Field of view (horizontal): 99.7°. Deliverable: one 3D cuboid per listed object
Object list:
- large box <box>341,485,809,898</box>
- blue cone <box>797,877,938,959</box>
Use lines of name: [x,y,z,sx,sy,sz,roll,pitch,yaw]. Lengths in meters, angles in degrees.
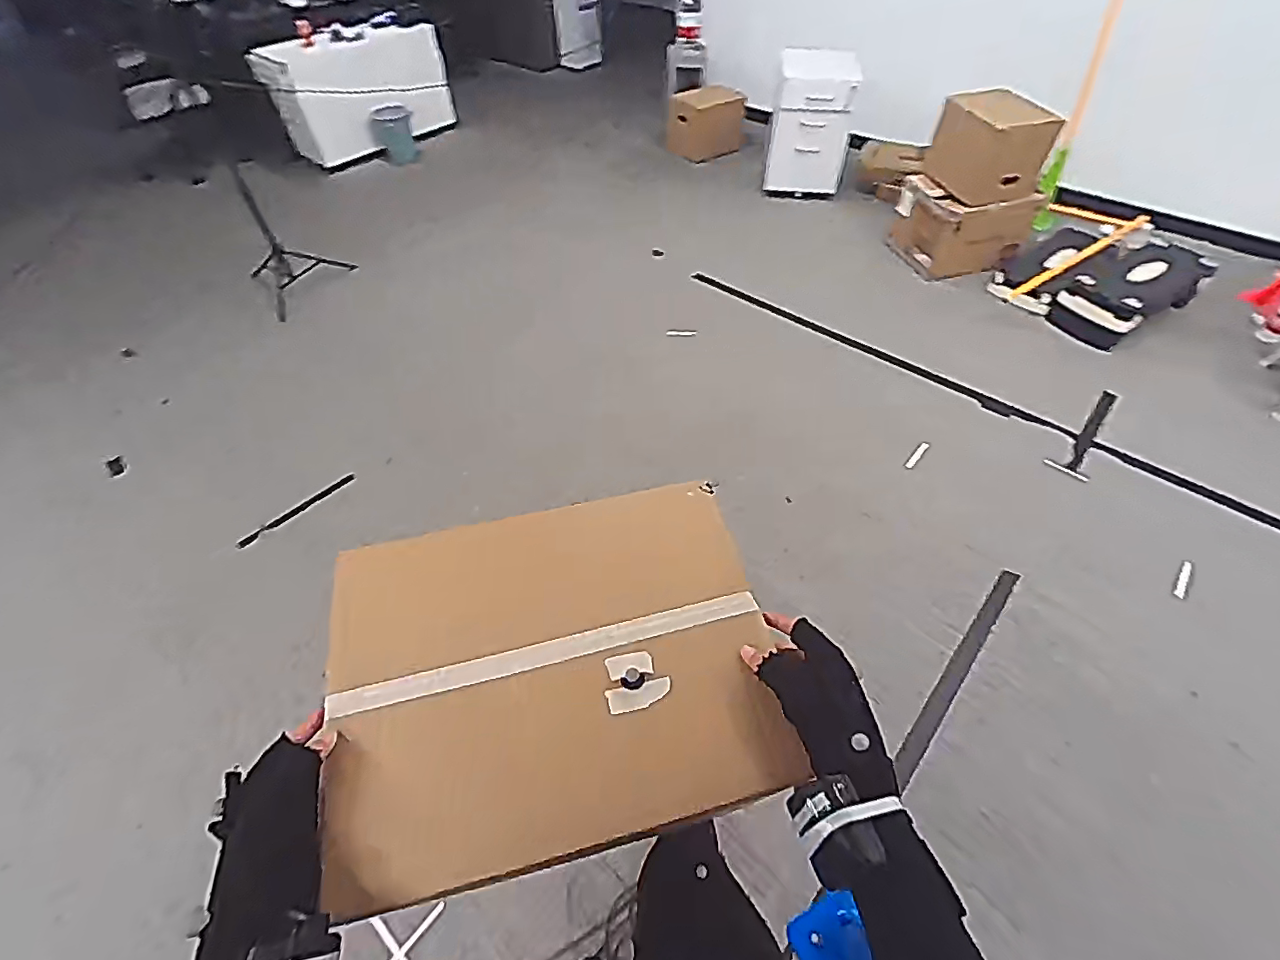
large box: [-0.080,0.250,0.649,0.408,0.320,0.320,-11,56,-9]
blue cone: [0.435,0.853,0.976,0.192,0.380,0.193,-22,54,-15]
